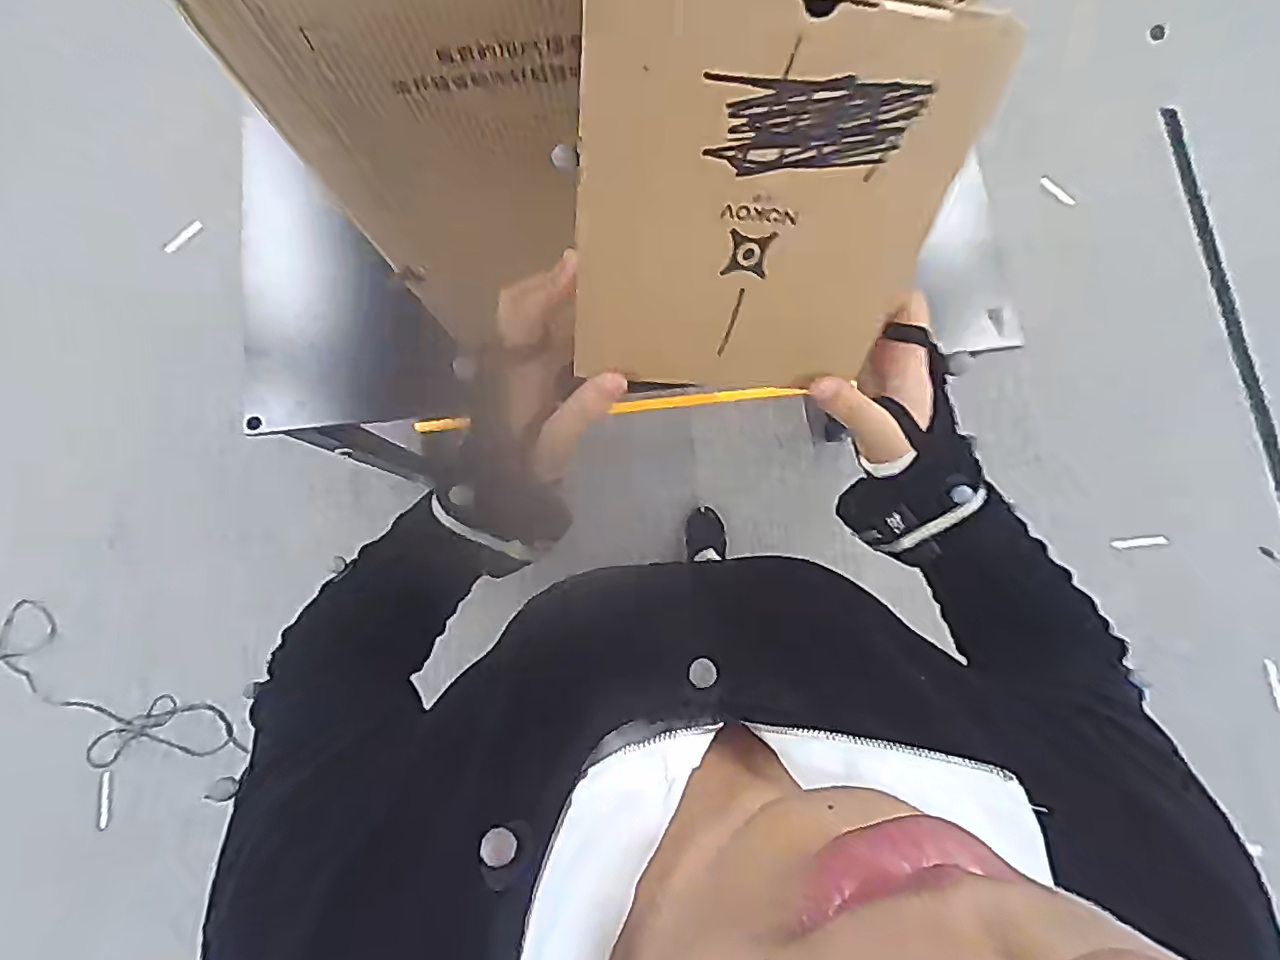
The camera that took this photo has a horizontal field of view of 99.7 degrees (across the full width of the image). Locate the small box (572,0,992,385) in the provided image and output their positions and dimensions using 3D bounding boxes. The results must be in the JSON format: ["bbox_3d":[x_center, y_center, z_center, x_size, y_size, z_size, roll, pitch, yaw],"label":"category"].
[{"bbox_3d":[0.046,-0.178,0.319,0.168,0.179,0.176,2,42,-7],"label":"small box"}]
